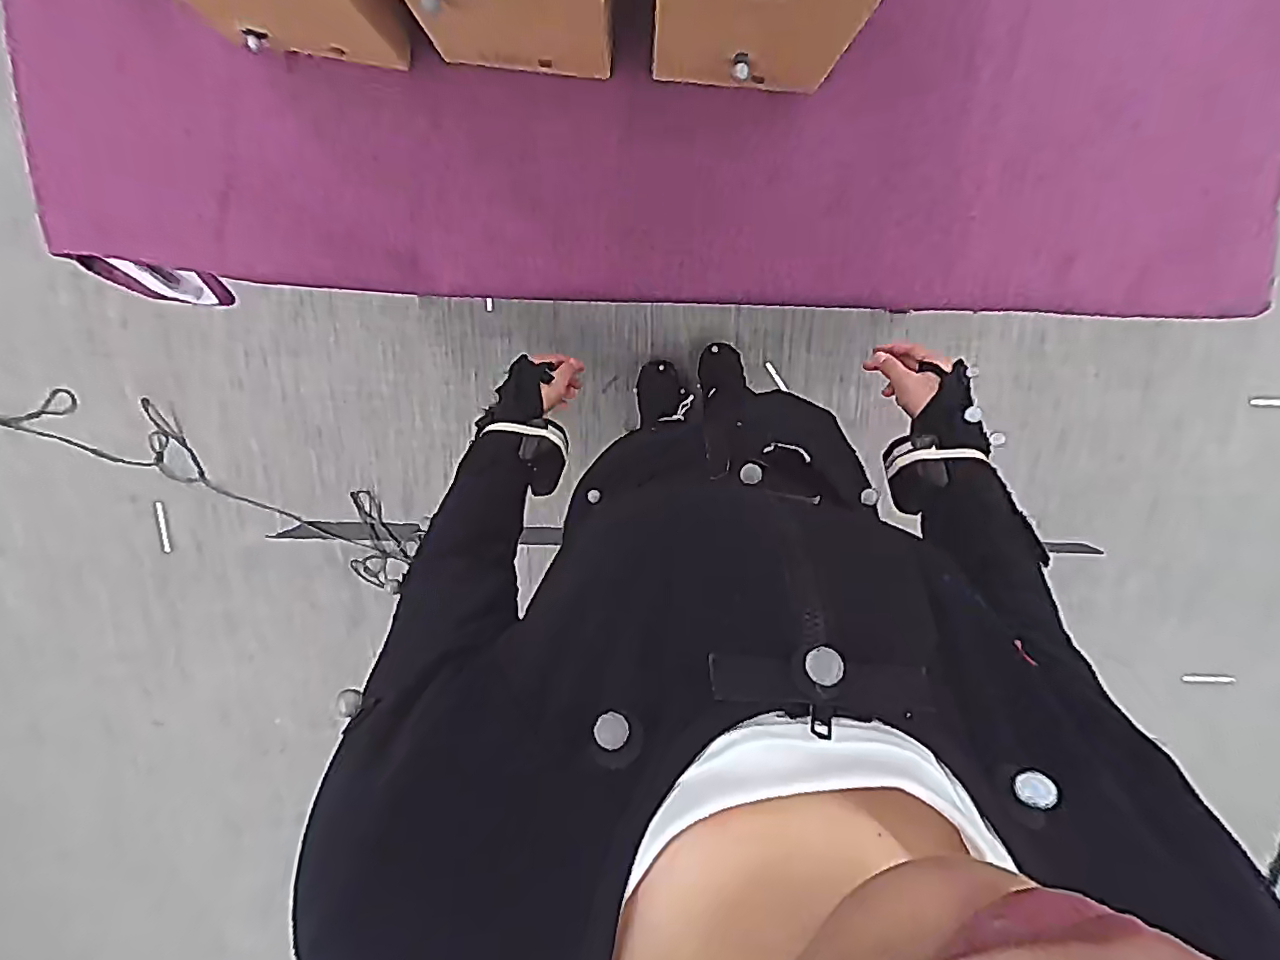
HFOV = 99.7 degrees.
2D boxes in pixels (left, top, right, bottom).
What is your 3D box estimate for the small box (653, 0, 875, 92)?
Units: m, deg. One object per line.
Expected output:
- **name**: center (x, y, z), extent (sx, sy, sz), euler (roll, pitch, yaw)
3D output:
- **small box**: center (0.100, -0.460, 0.442), extent (0.168, 0.176, 0.179), euler (4, 104, -1)
